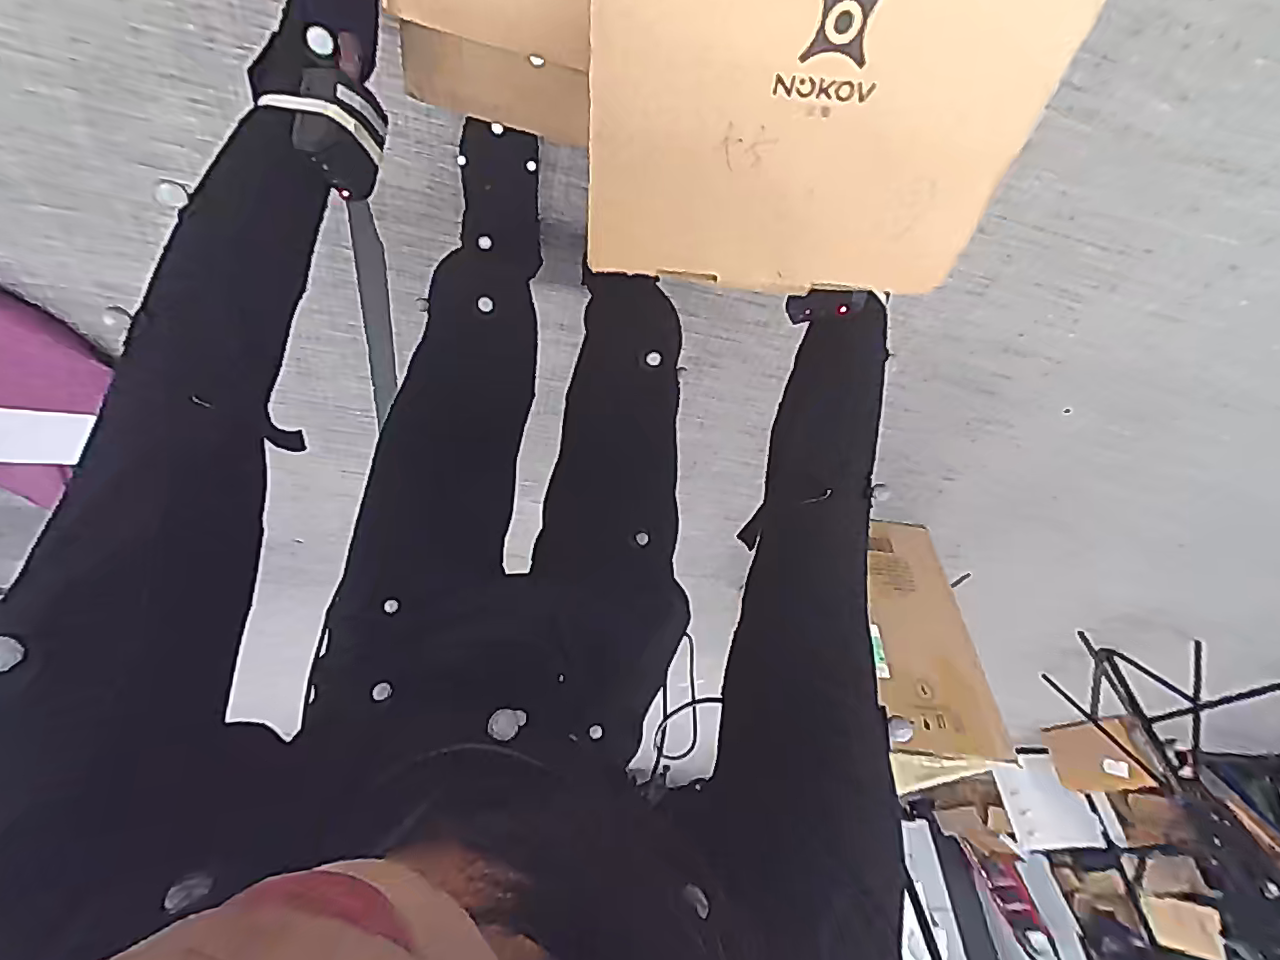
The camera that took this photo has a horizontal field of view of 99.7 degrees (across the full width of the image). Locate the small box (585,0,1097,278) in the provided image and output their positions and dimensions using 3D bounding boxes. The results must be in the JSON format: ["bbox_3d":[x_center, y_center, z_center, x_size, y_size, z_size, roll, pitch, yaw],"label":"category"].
[{"bbox_3d":[0.065,-0.216,0.231,0.168,0.176,0.179,3,142,-5],"label":"small box"}]
